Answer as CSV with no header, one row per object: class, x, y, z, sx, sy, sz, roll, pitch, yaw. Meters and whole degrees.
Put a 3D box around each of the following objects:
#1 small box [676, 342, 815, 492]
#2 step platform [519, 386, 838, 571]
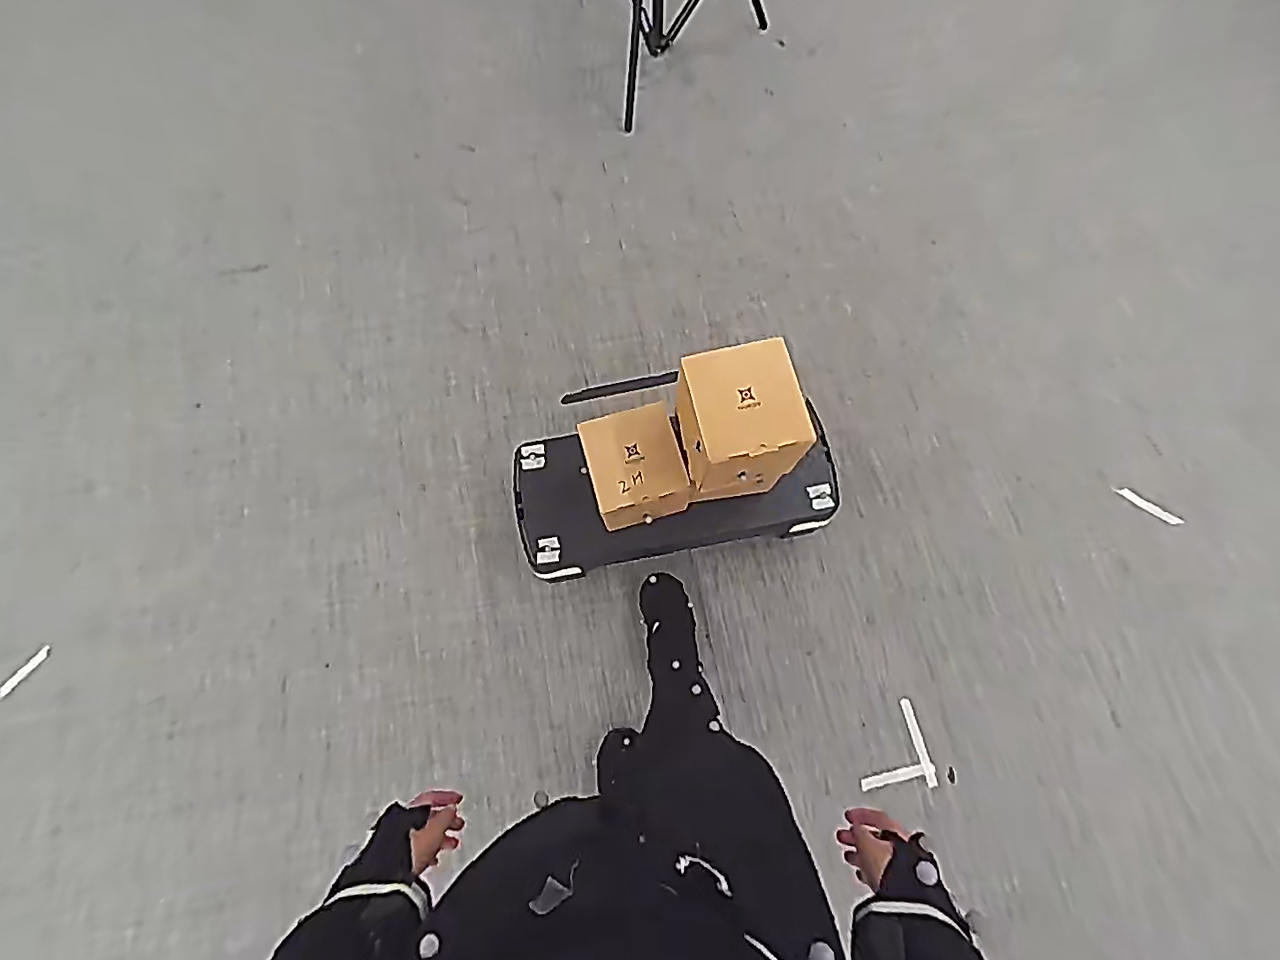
small box,0.160,-0.096,0.890,0.168,0.176,0.179,-13,75,-3
step platform,0.080,-0.001,1.214,0.684,0.204,0.286,-11,74,-1
